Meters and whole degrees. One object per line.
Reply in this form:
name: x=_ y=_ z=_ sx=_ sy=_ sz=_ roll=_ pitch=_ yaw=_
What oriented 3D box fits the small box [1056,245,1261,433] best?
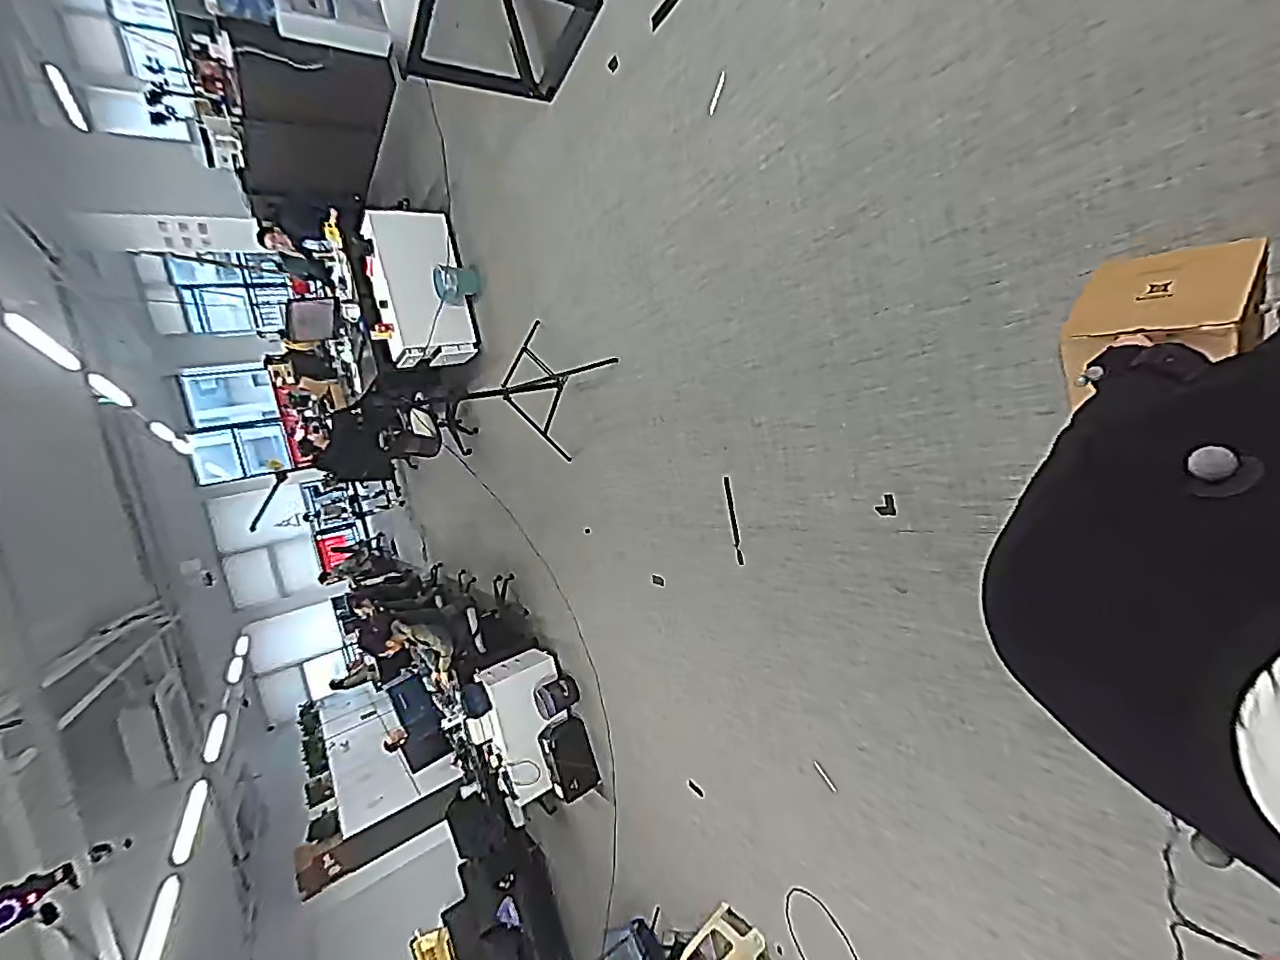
small box: x=0.702 y=-0.180 z=0.733 sx=0.168 sy=0.179 sz=0.176 roll=11 pitch=144 yaw=52
